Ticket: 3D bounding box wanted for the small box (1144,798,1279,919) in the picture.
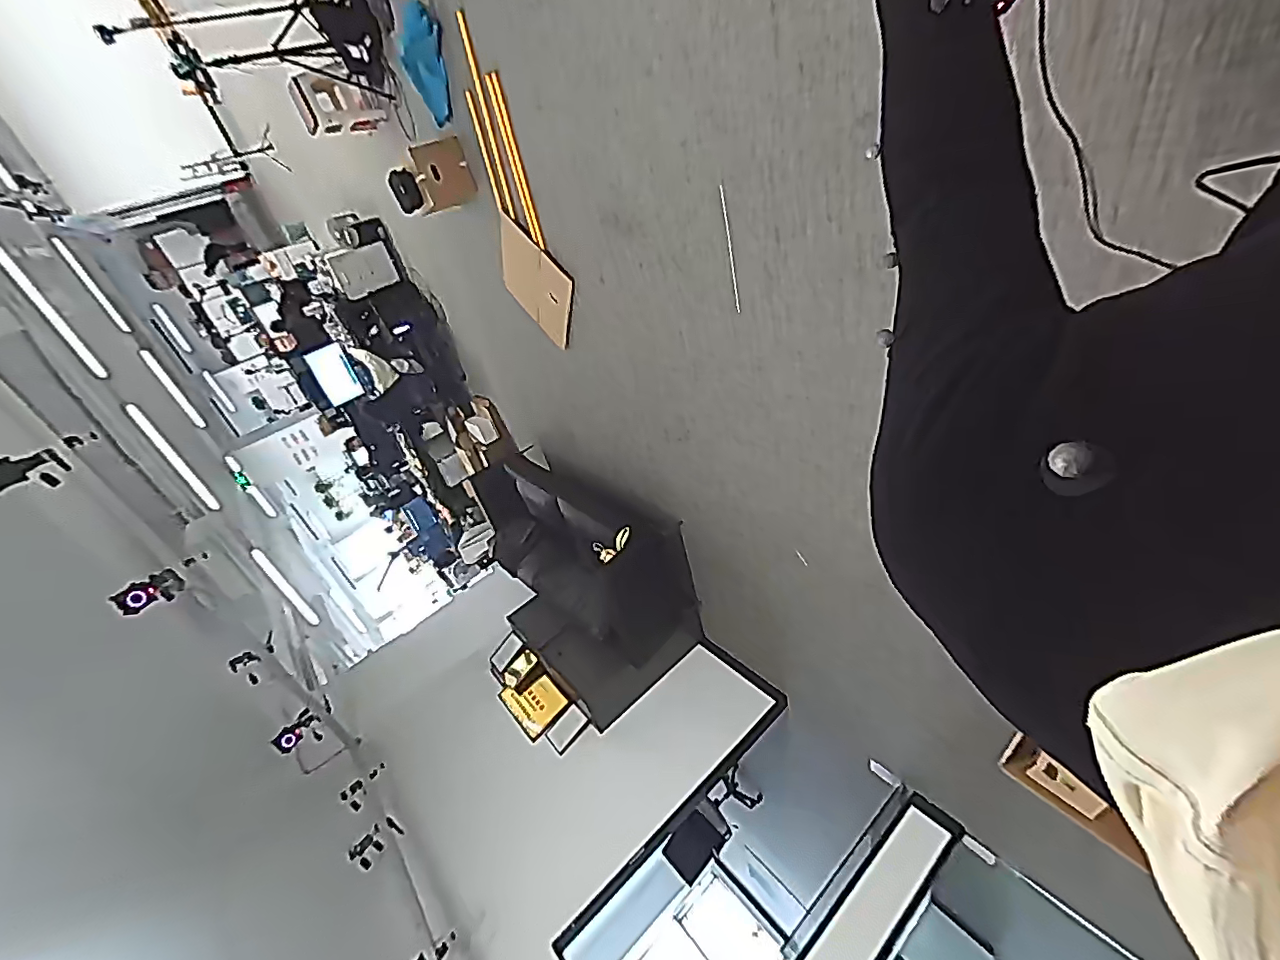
[{"bbox_3d":[1.469,0.968,1.390,0.179,0.176,0.168,34,148,38],"label":"small box"}]
